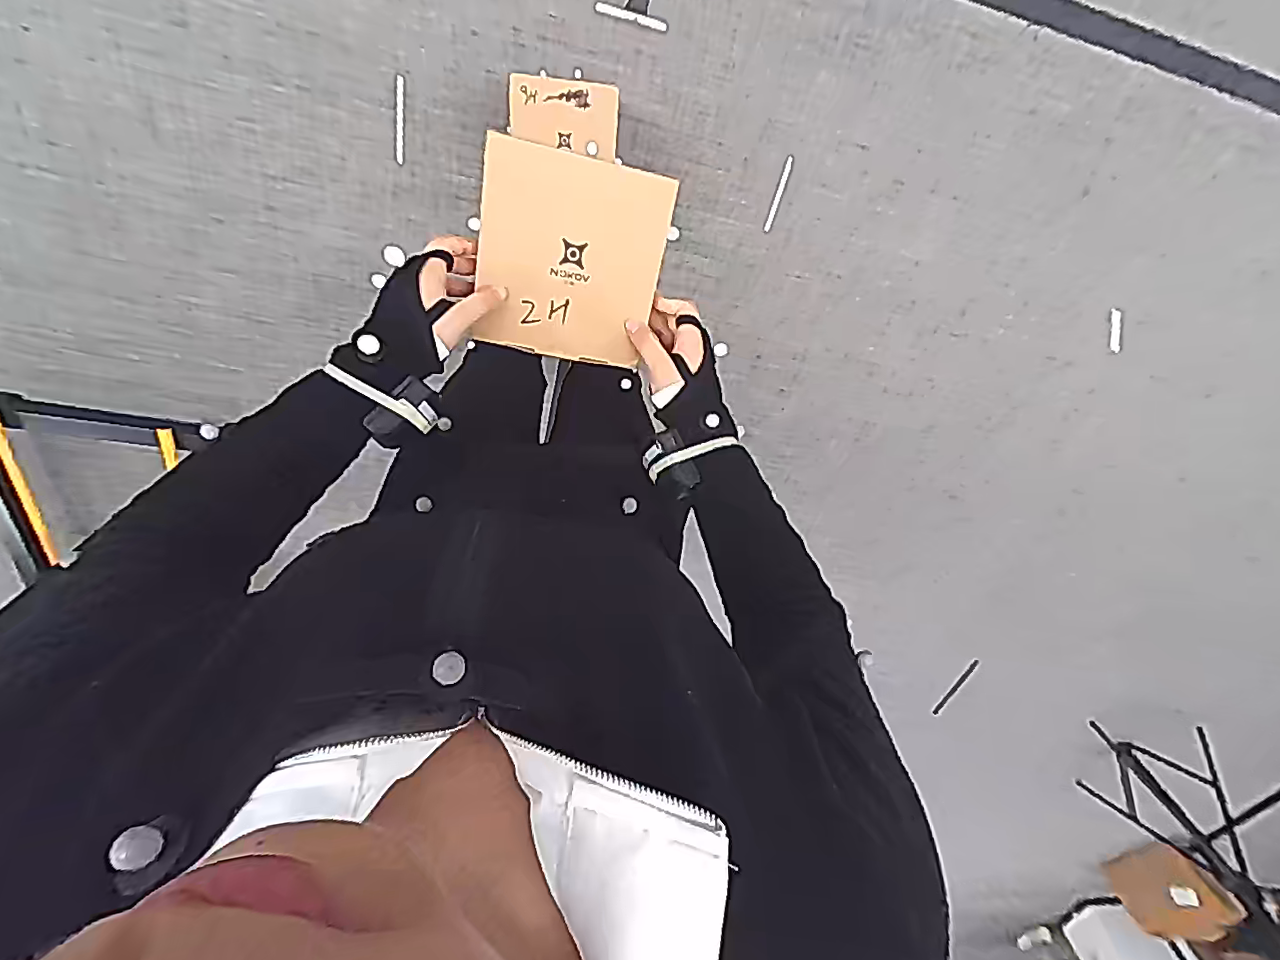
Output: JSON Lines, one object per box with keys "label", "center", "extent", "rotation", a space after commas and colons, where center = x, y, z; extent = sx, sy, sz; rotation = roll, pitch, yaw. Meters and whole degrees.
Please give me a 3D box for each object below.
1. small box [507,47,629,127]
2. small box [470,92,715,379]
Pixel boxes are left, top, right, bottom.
{"label": "small box", "center": [-0.108, -0.536, 0.829], "extent": [0.168, 0.176, 0.179], "rotation": [3, 124, -6]}
{"label": "small box", "center": [-0.050, -0.211, 0.481], "extent": [0.168, 0.176, 0.179], "rotation": [8, 119, -11]}
